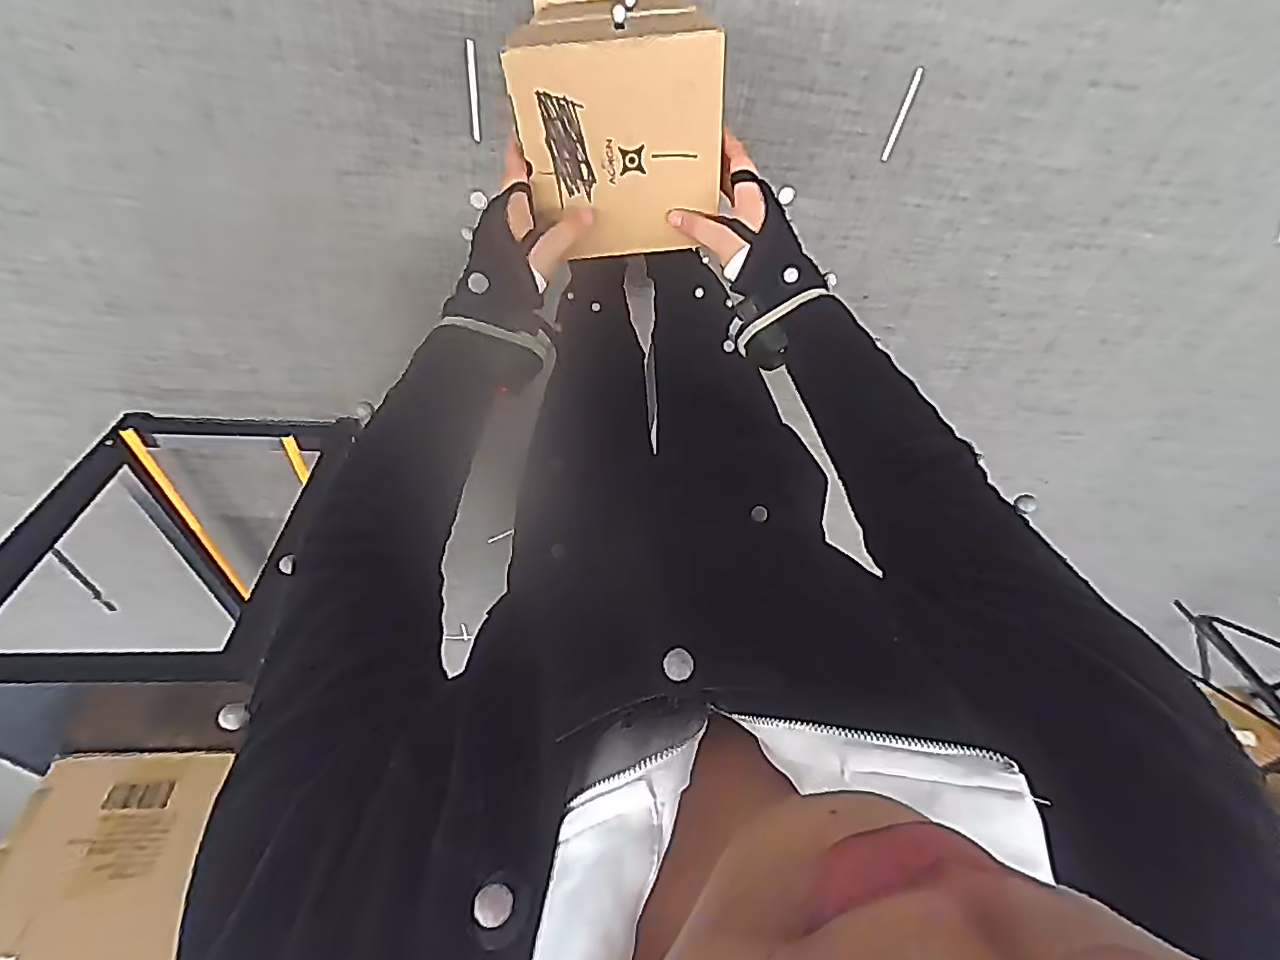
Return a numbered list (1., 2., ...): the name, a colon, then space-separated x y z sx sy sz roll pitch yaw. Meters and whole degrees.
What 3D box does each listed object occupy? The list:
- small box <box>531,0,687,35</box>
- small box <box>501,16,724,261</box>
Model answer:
1. small box: -0.026 -0.448 0.646 0.168 0.176 0.179 -4 136 0
2. small box: -0.020 -0.333 0.527 0.179 0.176 0.168 -5 135 1
